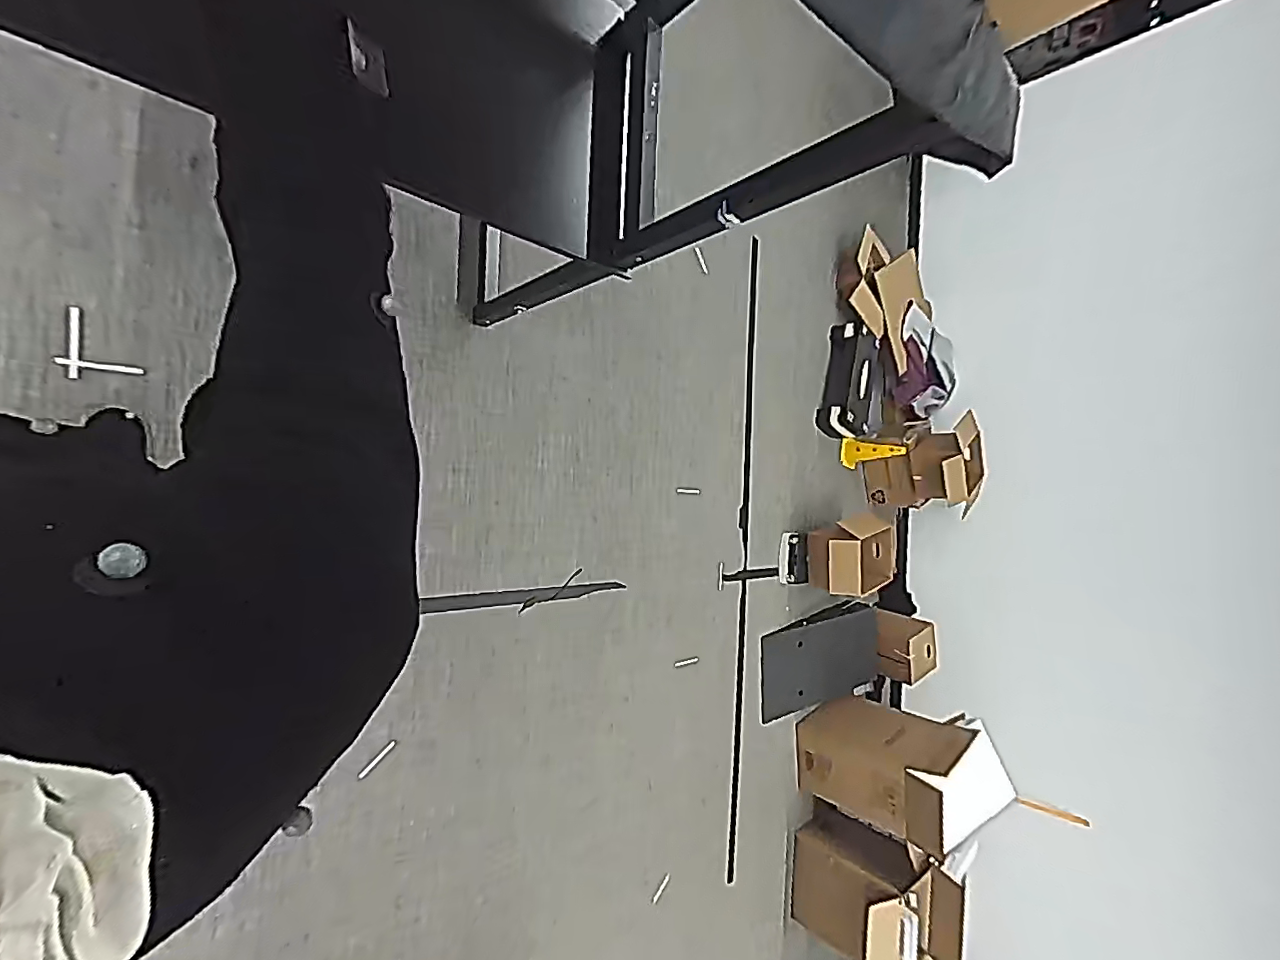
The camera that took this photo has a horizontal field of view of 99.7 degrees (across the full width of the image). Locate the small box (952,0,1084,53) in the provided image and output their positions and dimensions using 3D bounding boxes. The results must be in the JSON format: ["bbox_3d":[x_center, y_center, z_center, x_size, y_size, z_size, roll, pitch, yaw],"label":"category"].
[{"bbox_3d":[0.435,-0.626,0.586,0.168,0.176,0.179,-1,90,-43],"label":"small box"}]
